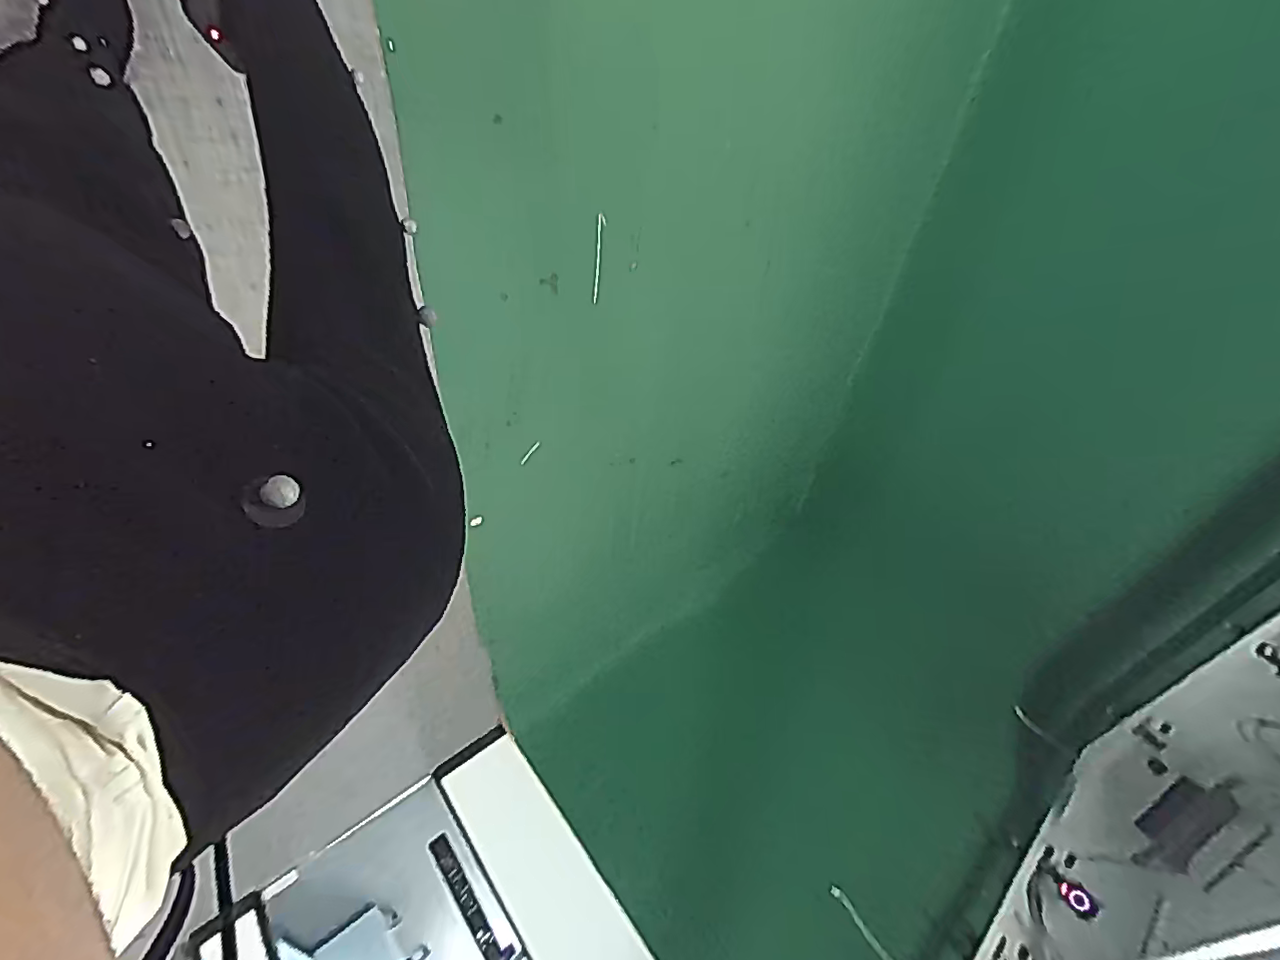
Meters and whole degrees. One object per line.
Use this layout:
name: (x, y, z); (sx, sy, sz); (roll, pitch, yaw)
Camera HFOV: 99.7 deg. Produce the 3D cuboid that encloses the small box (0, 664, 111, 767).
small box: (-1.663, 0.662, 1.538); (0.179, 0.176, 0.168); (-22, 139, -34)
